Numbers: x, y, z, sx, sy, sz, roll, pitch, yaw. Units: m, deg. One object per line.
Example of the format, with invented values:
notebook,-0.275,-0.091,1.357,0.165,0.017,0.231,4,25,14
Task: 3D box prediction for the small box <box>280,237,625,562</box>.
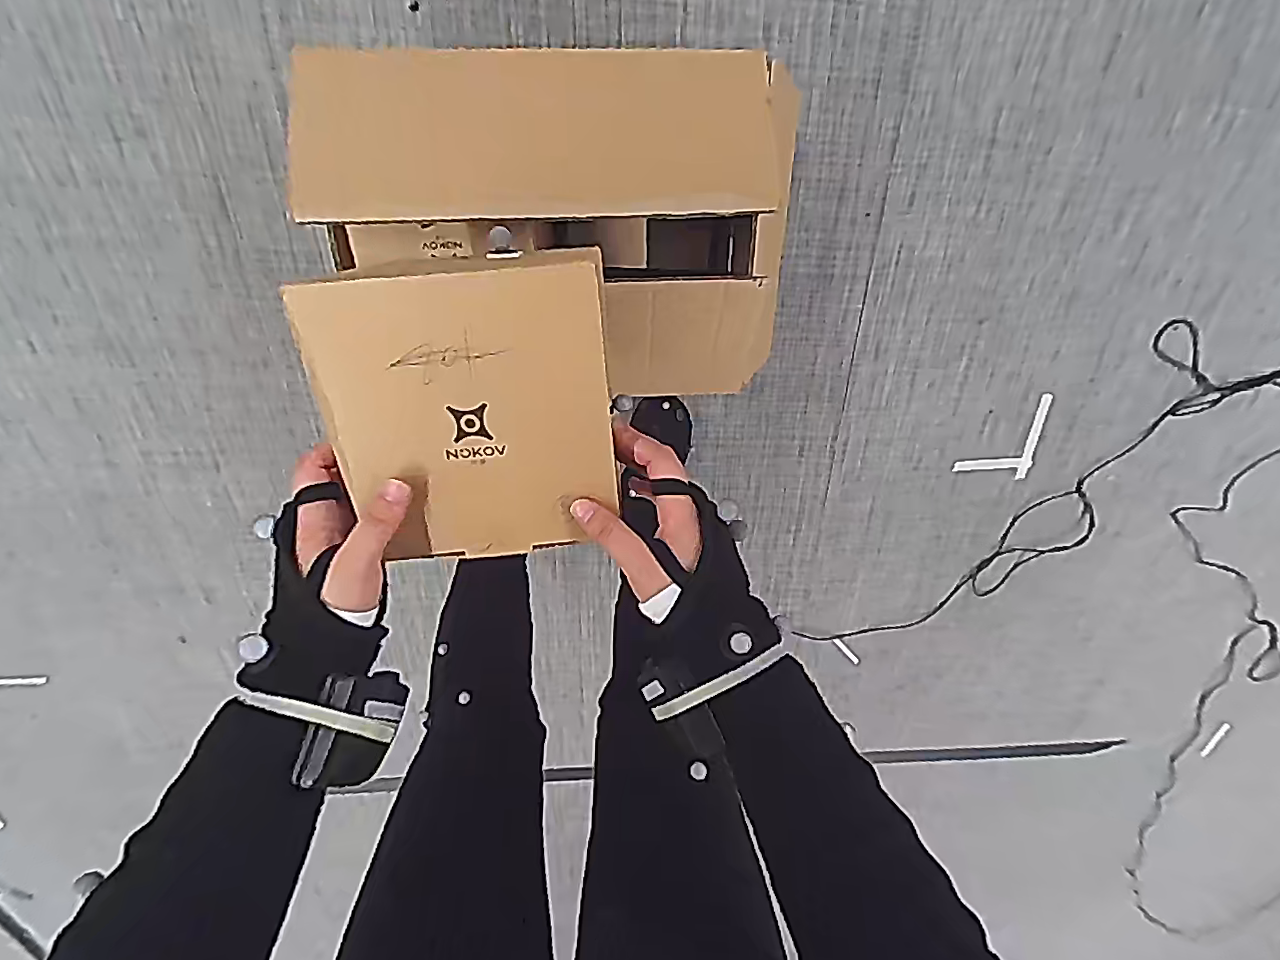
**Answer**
small box,-0.099,-0.067,0.382,0.168,0.176,0.179,-6,117,-2
